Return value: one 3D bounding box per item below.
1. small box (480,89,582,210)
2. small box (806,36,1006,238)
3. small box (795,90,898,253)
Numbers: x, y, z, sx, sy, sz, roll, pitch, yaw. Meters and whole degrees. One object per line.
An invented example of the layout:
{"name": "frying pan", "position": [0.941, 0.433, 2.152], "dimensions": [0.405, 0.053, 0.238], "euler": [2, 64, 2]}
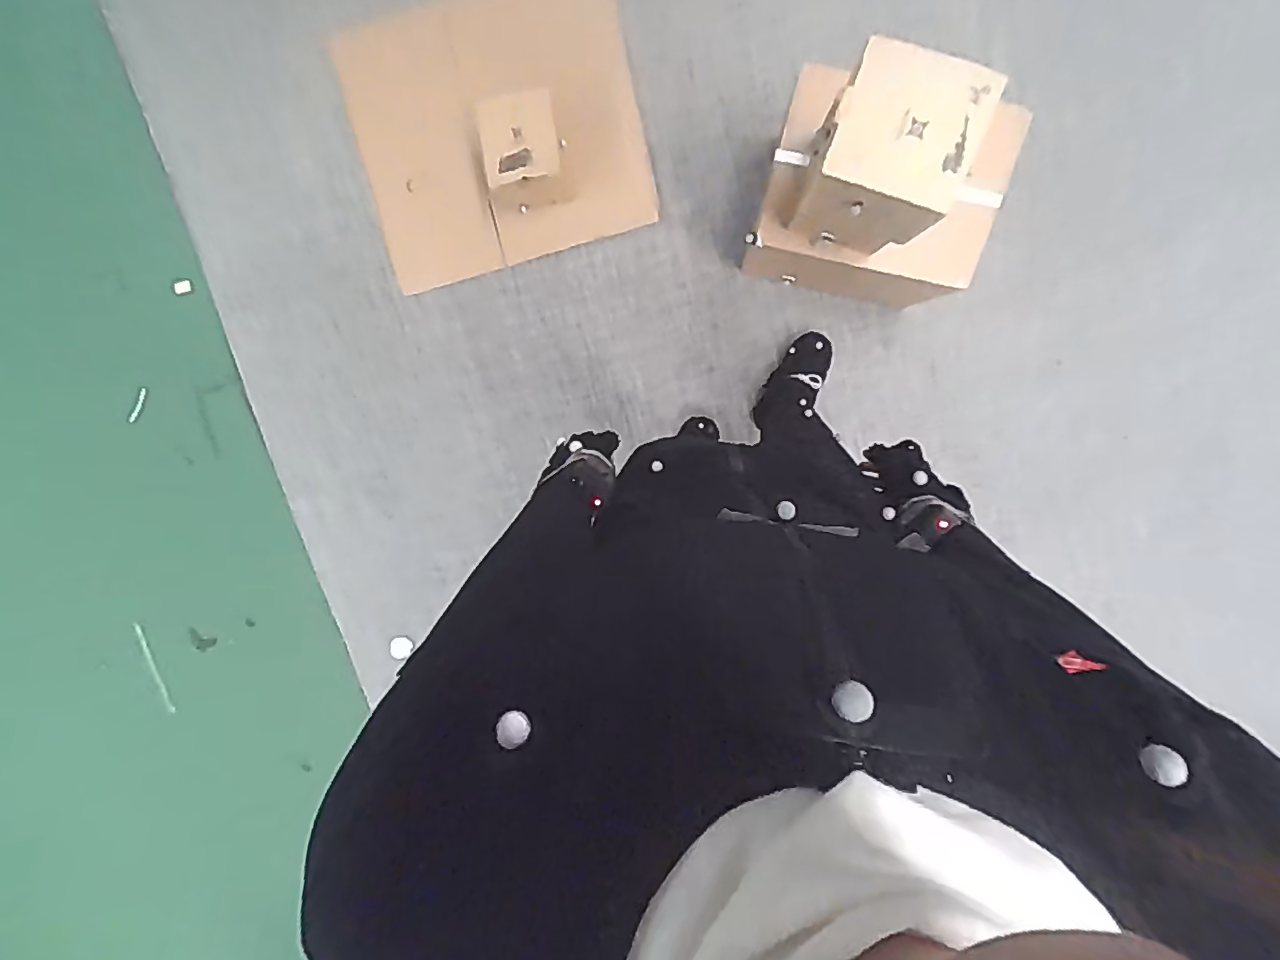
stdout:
{"name": "small box", "position": [-0.239, -0.737, 1.231], "dimensions": [0.168, 0.176, 0.179], "euler": [-7, 98, 9]}
{"name": "small box", "position": [0.347, -0.457, 0.750], "dimensions": [0.179, 0.176, 0.168], "euler": [17, 101, 4]}
{"name": "small box", "position": [0.370, -0.503, 0.904], "dimensions": [0.168, 0.176, 0.179], "euler": [17, 104, 5]}
